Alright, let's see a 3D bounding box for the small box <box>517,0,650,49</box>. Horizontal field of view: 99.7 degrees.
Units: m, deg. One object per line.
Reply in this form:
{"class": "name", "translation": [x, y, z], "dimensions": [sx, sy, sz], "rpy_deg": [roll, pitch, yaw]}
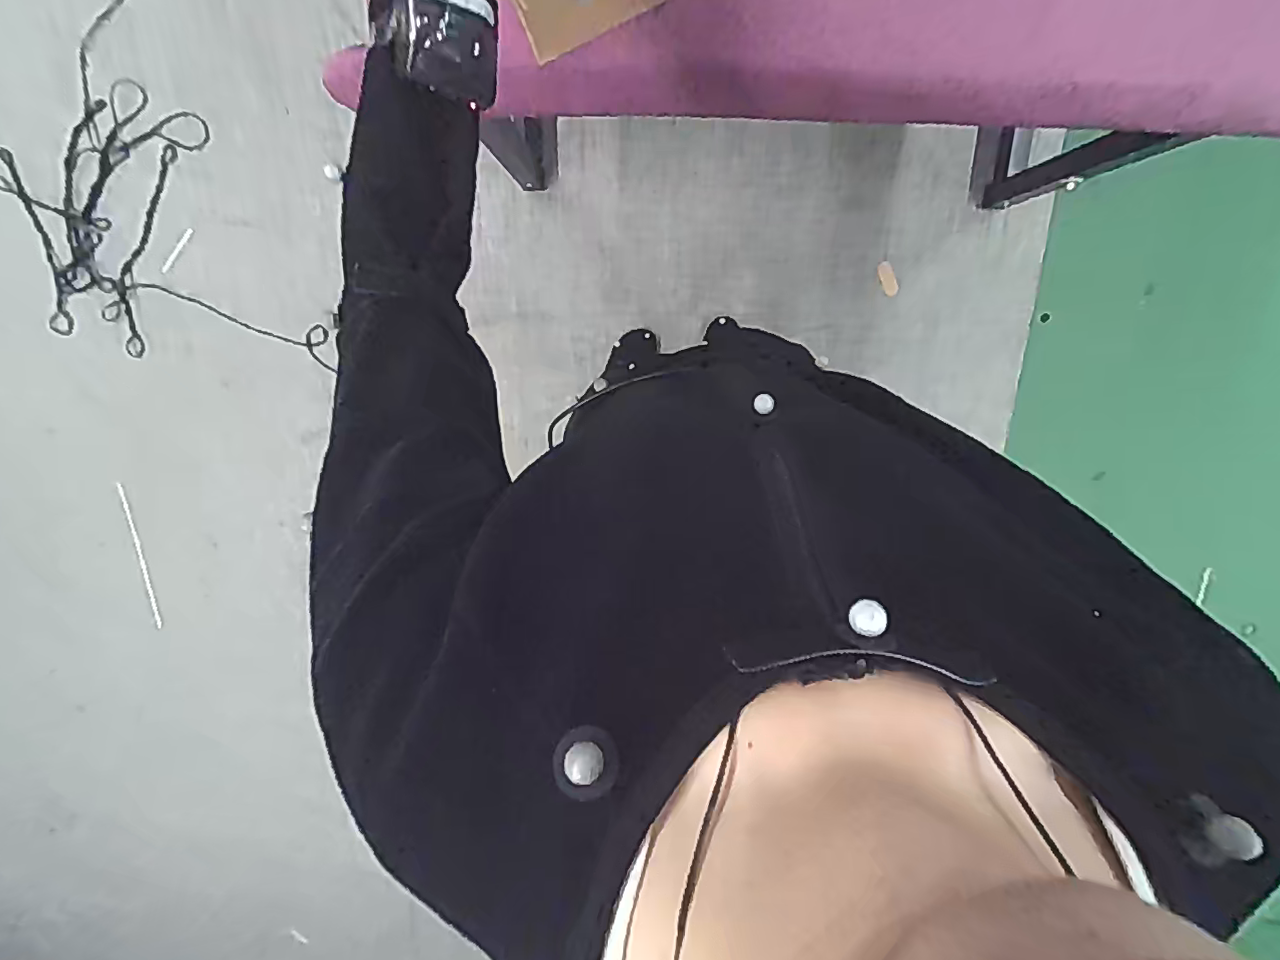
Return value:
{"class": "small box", "translation": [-0.071, -0.580, 0.531], "dimensions": [0.179, 0.176, 0.168], "rpy_deg": [-22, 104, 8]}

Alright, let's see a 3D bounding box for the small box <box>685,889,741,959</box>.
{"class": "small box", "translation": [0.242, 1.524, 1.835], "dimensions": [0.168, 0.176, 0.179], "rpy_deg": [2, 106, 1]}

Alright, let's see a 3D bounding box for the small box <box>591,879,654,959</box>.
{"class": "small box", "translation": [-0.055, 1.515, 1.834], "dimensions": [0.168, 0.176, 0.179], "rpy_deg": [19, 105, -4]}

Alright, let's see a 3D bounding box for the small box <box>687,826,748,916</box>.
{"class": "small box", "translation": [0.246, 1.269, 1.764], "dimensions": [0.168, 0.176, 0.179], "rpy_deg": [6, 106, 0]}
